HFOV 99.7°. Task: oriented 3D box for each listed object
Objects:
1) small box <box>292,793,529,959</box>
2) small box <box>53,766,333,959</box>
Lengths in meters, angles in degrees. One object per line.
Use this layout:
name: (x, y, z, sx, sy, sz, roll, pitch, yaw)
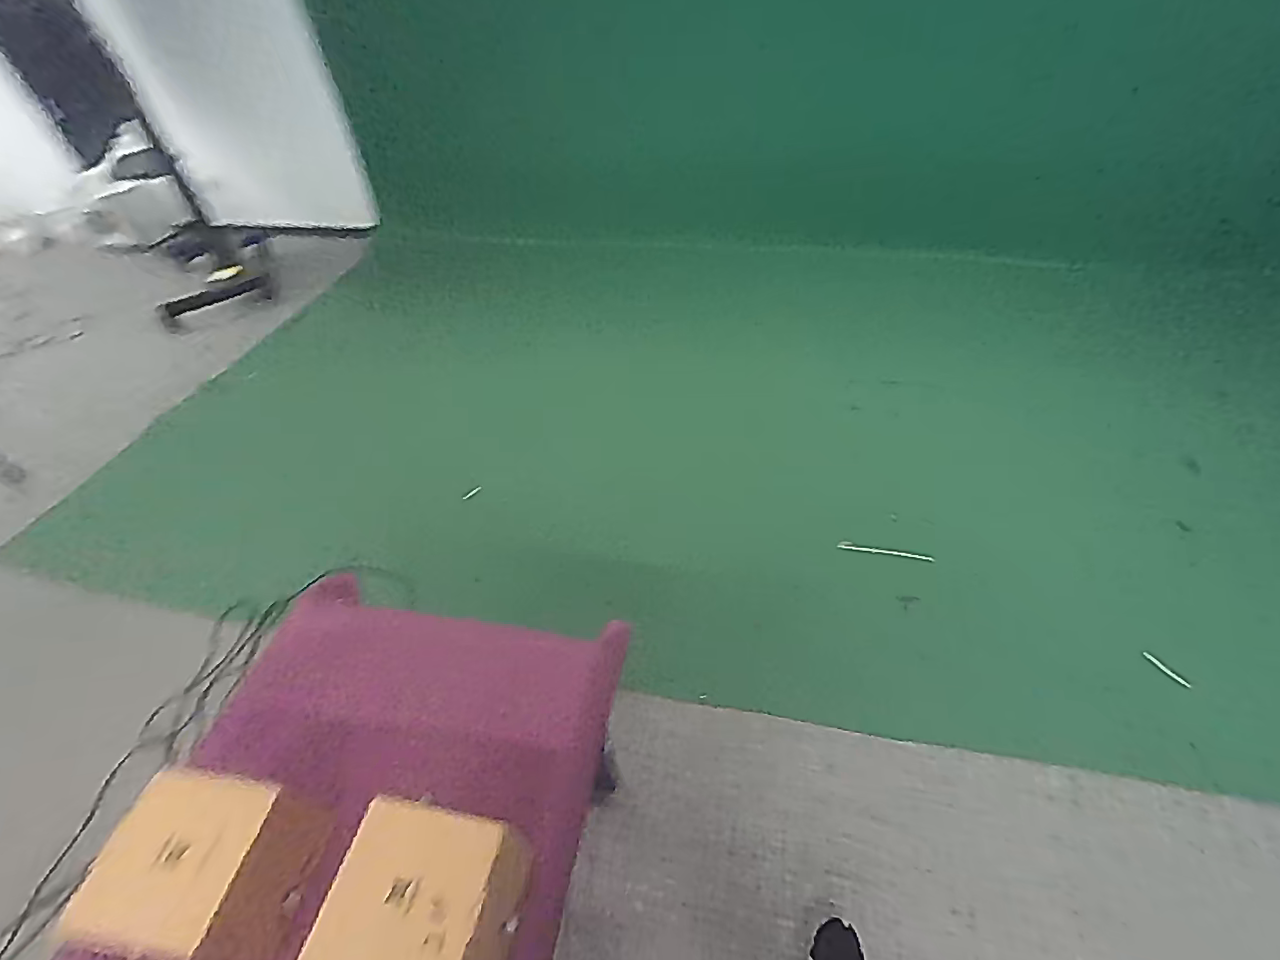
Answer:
small box: (-0.255, 0.506, 0.650, 0.179, 0.176, 0.168, 6, 47, 11)
small box: (-0.543, 0.489, 0.689, 0.179, 0.176, 0.168, 5, 48, 7)
